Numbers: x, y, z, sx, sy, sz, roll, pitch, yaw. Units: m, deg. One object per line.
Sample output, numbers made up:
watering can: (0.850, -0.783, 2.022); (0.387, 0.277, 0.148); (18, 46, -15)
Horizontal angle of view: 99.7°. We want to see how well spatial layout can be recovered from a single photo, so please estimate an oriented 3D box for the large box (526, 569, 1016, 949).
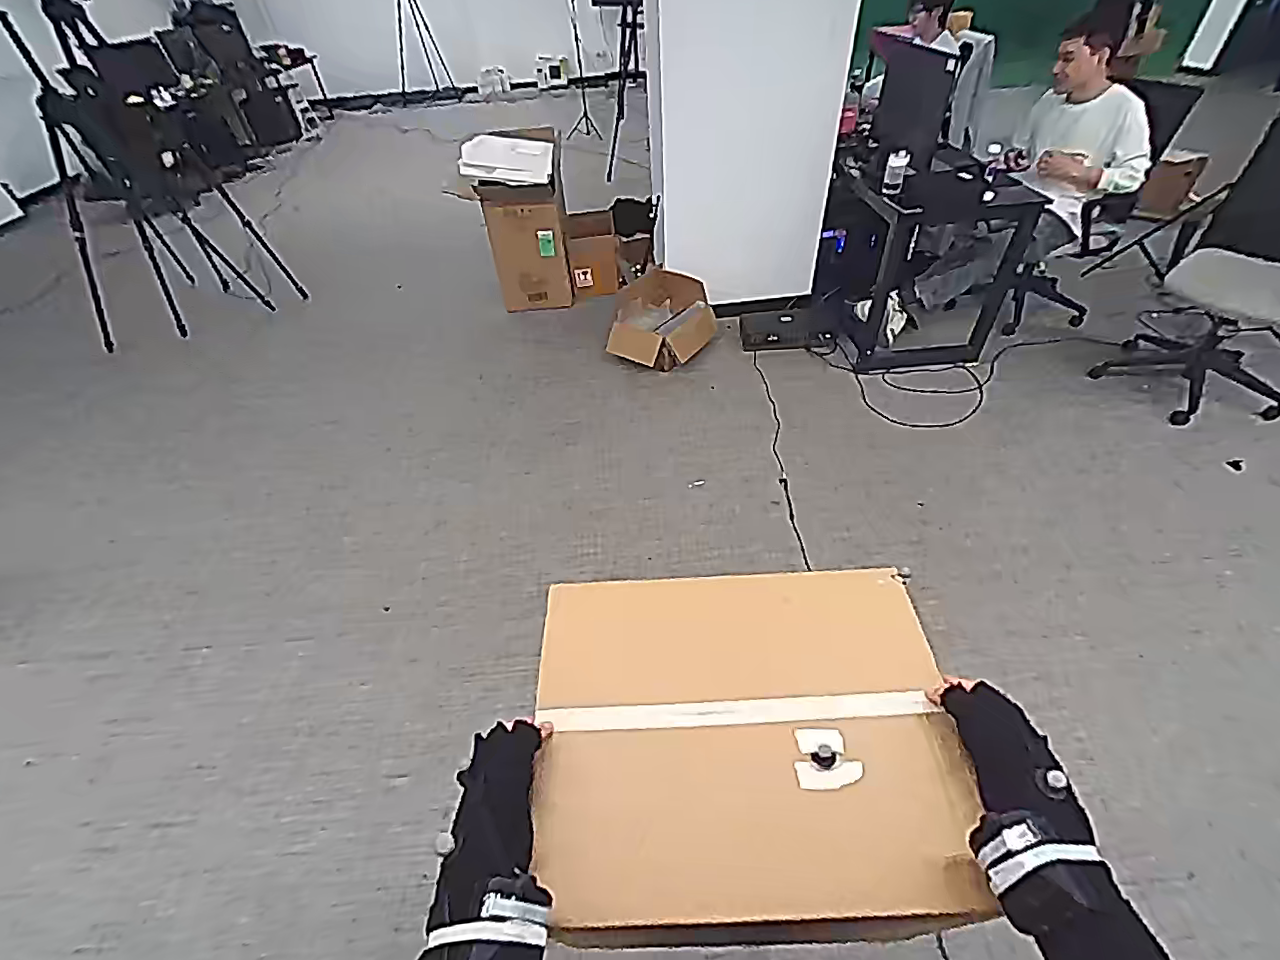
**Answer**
large box: (0.104, 0.330, 0.639); (0.408, 0.320, 0.320); (-3, 47, 1)
